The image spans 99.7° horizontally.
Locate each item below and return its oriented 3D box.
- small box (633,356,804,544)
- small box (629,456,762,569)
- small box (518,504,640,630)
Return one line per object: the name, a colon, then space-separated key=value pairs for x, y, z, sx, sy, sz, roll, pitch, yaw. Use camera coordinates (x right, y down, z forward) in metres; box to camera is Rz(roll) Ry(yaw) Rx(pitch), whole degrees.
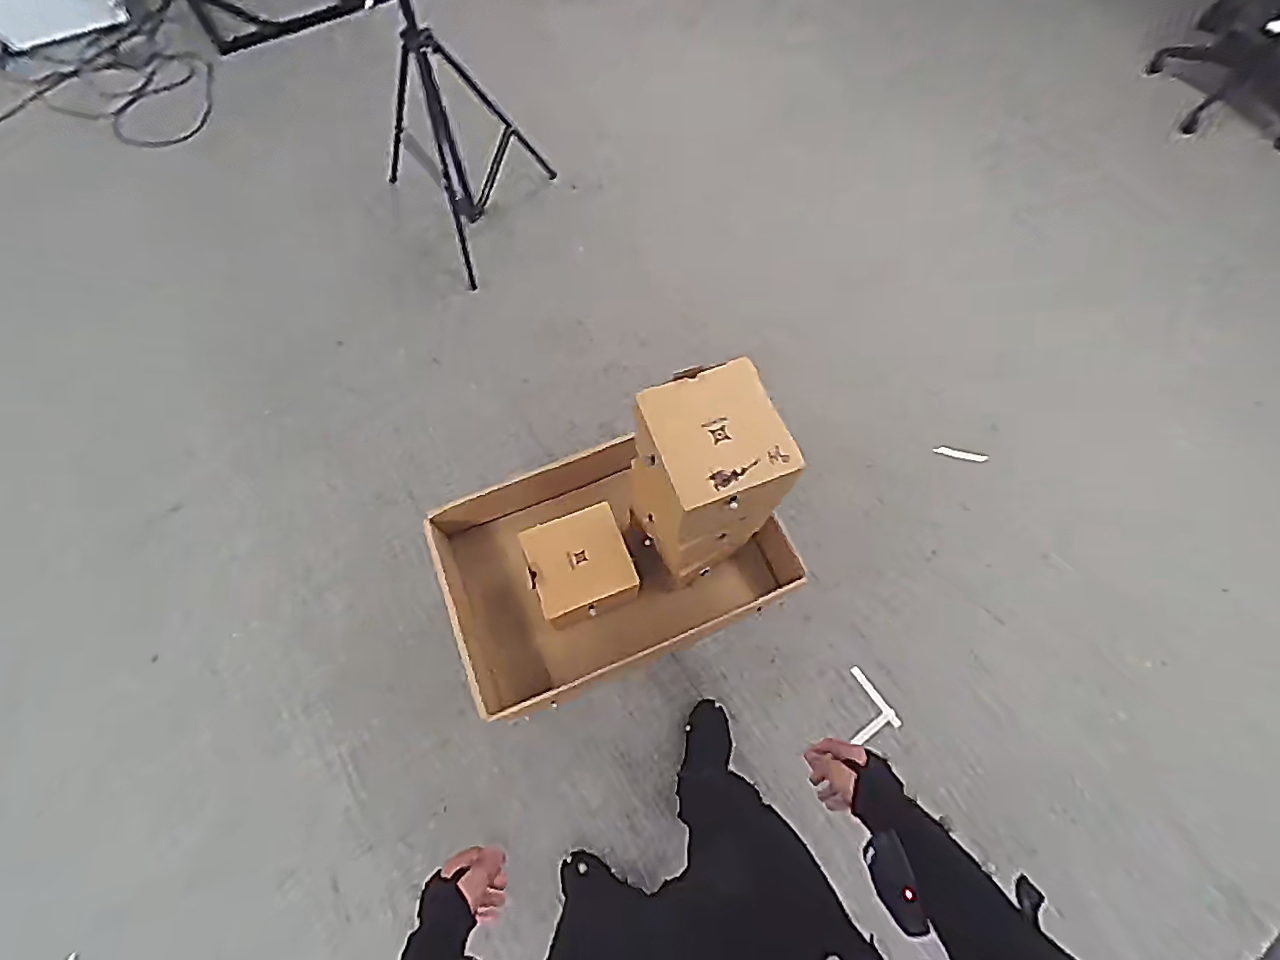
small box: x=0.095 y=-0.034 z=0.745 sx=0.168 sy=0.176 sz=0.179 roll=-20 pitch=69 yaw=-6
small box: x=0.096 y=0.029 z=0.897 sx=0.179 sy=0.176 sz=0.168 roll=-25 pitch=71 yaw=-9
small box: x=-0.111 y=0.169 z=1.018 sx=0.179 sy=0.176 sz=0.168 roll=-21 pitch=70 yaw=-9
